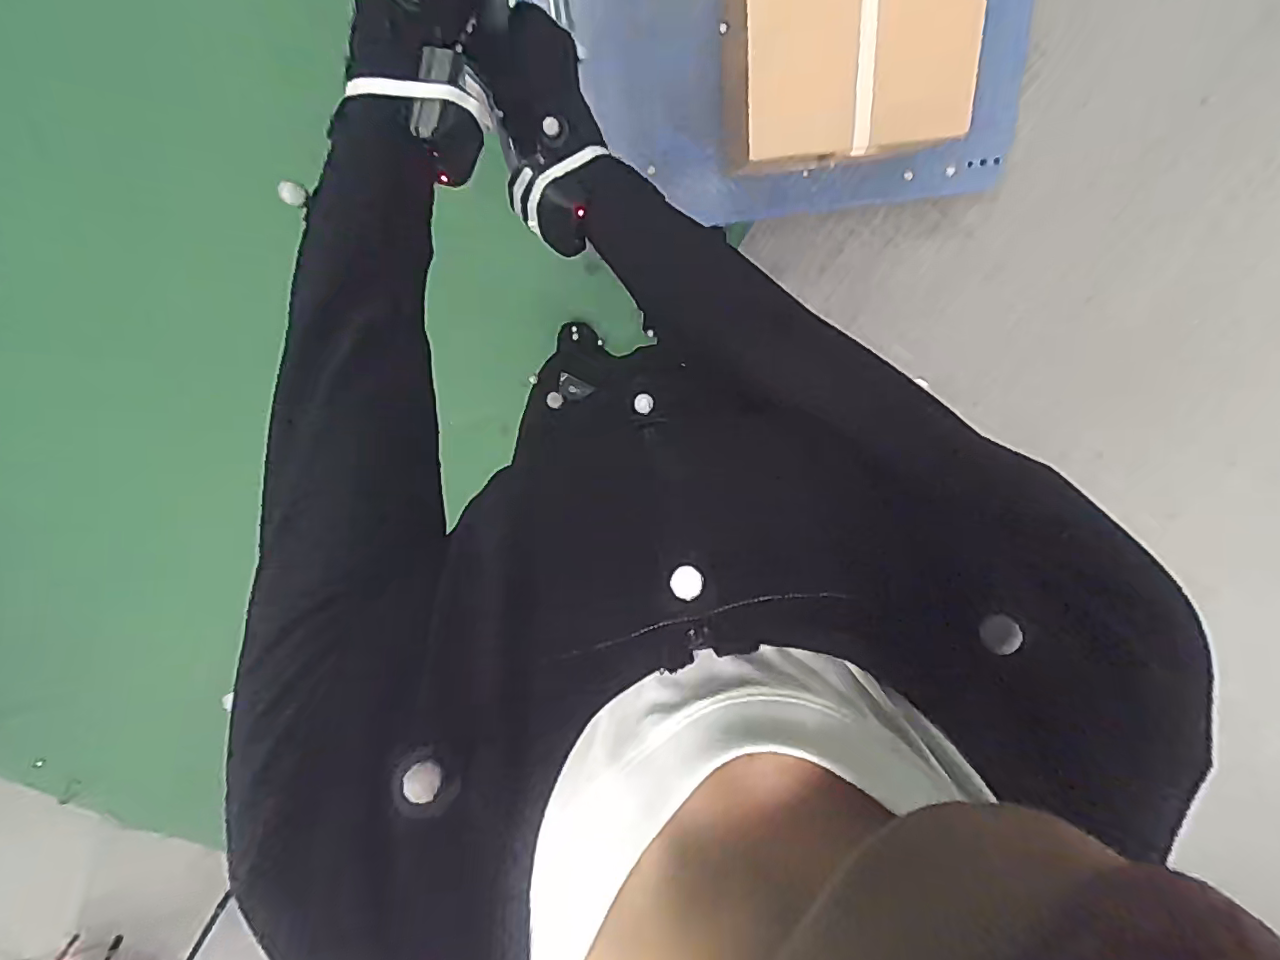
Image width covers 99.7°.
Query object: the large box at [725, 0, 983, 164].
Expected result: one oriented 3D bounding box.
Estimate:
[{"bbox_3d":[0.297,-0.745,0.826,0.320,0.320,0.408,-4,115,4],"label":"large box"}]
